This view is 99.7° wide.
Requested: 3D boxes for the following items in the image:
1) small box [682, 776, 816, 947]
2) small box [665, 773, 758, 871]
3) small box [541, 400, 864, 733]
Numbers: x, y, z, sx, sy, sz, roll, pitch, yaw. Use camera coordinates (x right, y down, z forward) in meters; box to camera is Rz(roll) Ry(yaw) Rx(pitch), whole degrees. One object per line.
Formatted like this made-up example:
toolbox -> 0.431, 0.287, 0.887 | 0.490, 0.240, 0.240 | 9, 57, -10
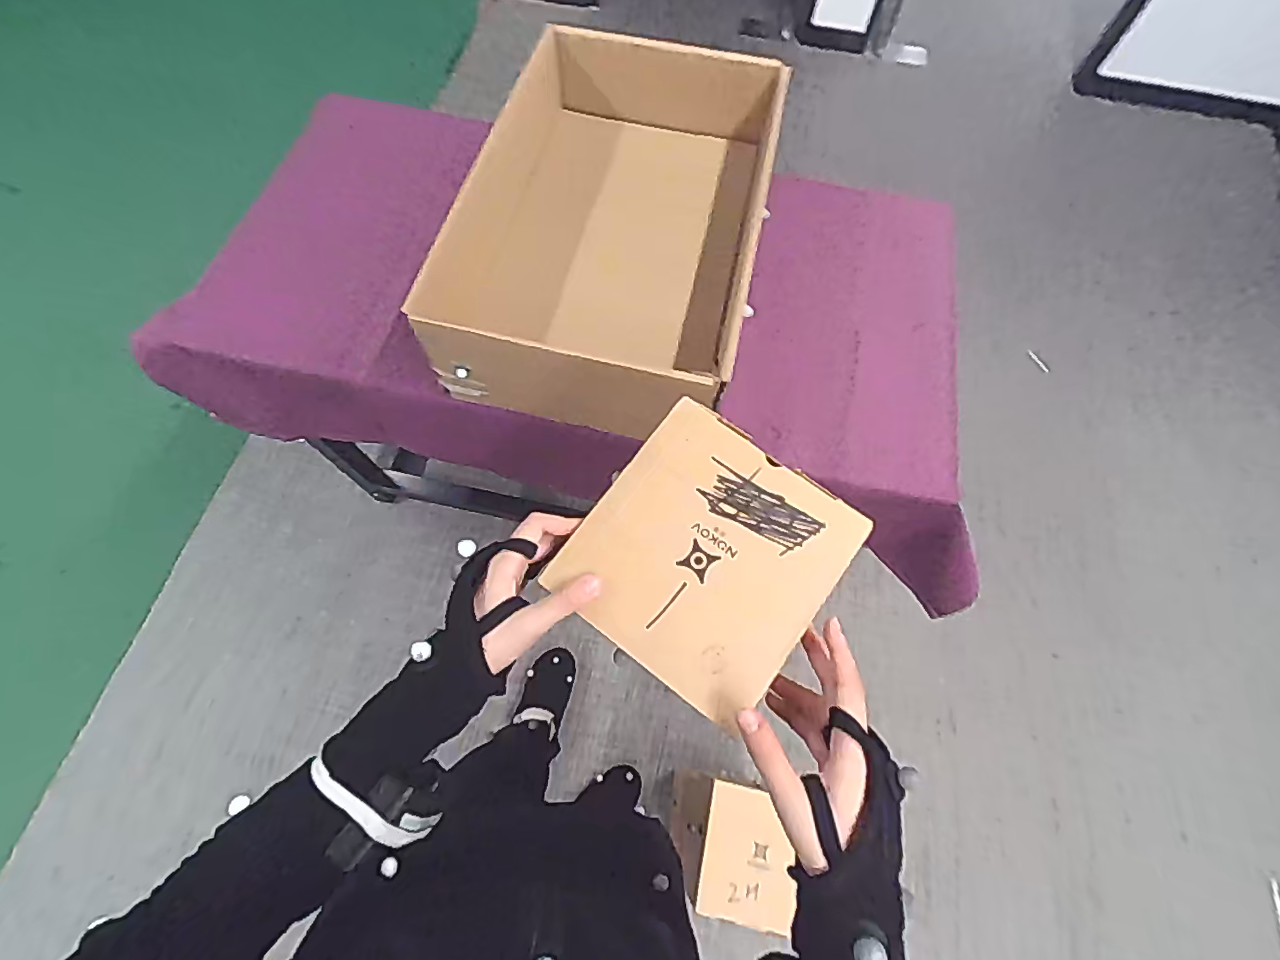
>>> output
small box -> 0.169, 0.595, 0.872 | 0.168, 0.176, 0.179 | 13, 66, 4
small box -> 0.152, 0.740, 1.168 | 0.179, 0.176, 0.168 | 7, 66, 0
small box -> 0.045, 0.072, 0.453 | 0.168, 0.176, 0.179 | 35, 78, 11
